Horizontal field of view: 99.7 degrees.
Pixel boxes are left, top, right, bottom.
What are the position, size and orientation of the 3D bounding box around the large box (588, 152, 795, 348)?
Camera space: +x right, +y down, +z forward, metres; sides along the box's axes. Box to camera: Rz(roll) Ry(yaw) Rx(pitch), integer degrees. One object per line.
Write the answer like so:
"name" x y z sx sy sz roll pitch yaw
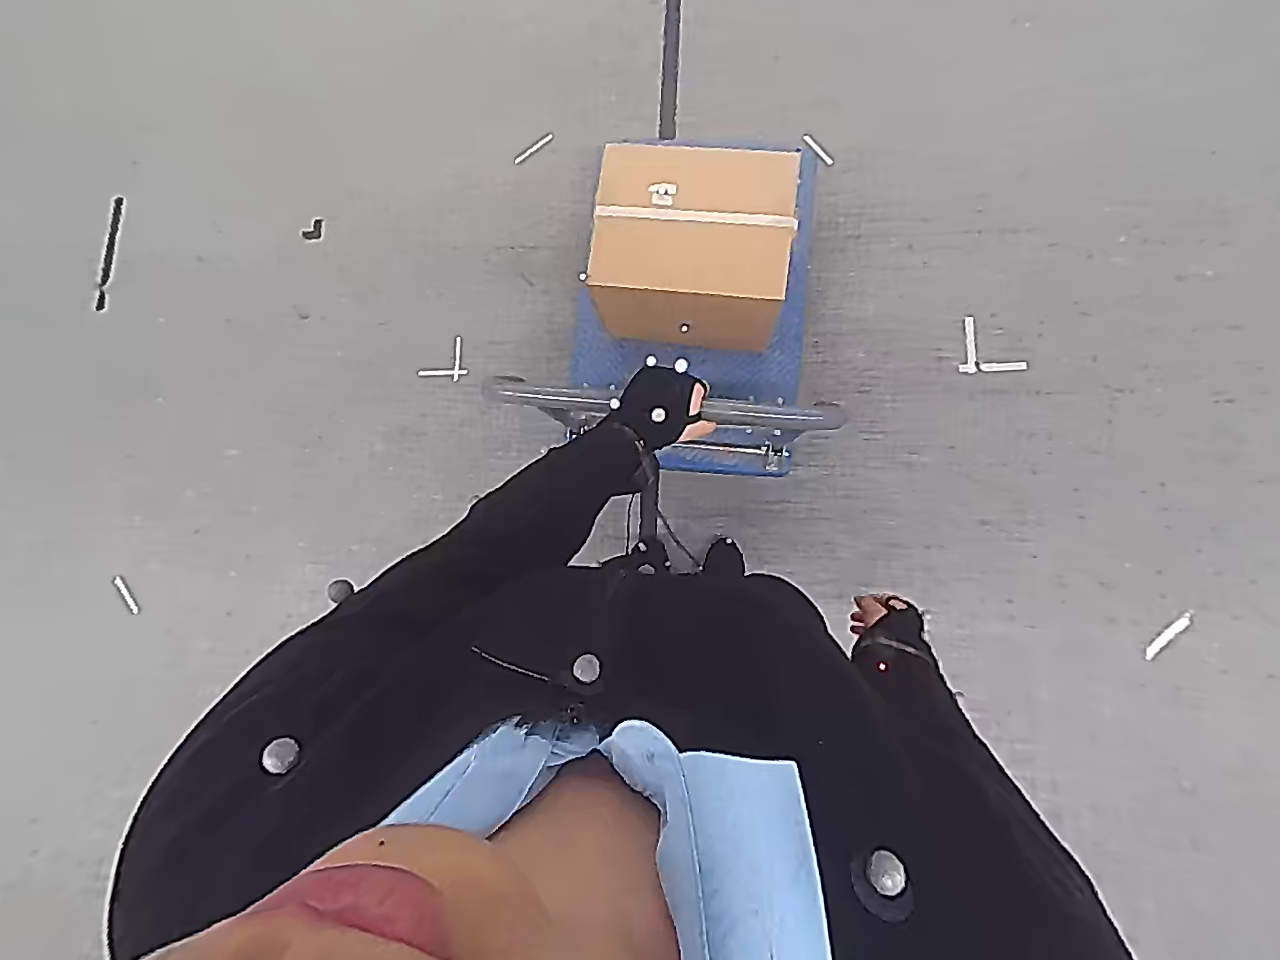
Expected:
"large box" 0.125 -0.513 1.255 0.408 0.320 0.320 7 84 8
